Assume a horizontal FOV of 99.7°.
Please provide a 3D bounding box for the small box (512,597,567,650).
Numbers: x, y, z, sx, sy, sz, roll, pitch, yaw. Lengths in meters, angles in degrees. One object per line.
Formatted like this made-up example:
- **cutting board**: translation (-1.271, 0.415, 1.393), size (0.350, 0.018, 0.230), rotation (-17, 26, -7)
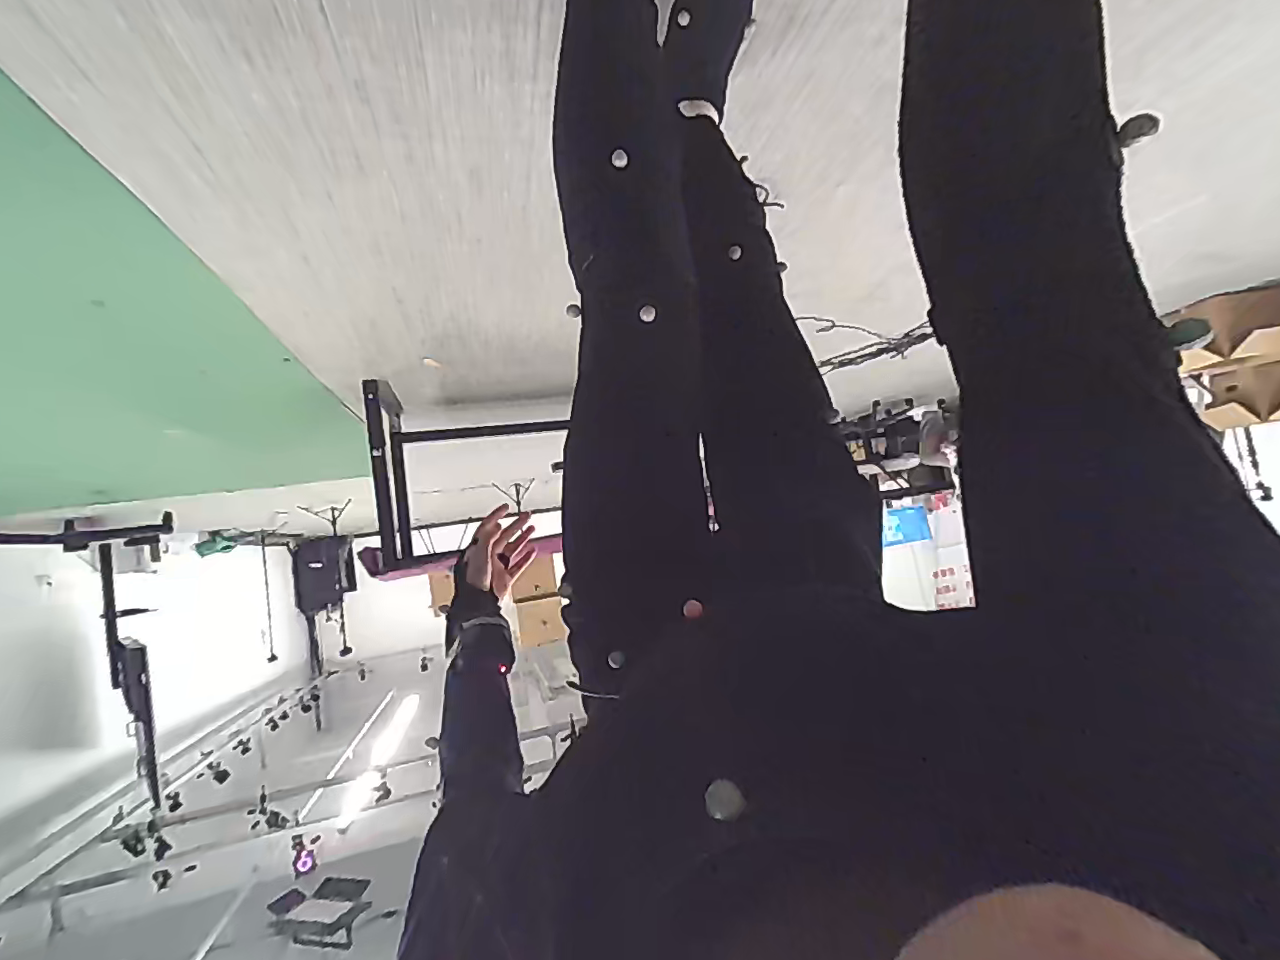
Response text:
- **small box**: translation (-0.397, 0.551, 2.123), size (0.179, 0.176, 0.168), rotation (-8, 176, -19)

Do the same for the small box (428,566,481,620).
- **small box**: translation (-0.709, 0.425, 2.056), size (0.168, 0.176, 0.179), rotation (-7, 175, -24)

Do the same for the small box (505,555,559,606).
- **small box**: translation (-0.433, 0.393, 2.146), size (0.179, 0.176, 0.168), rotation (-6, 175, -20)
